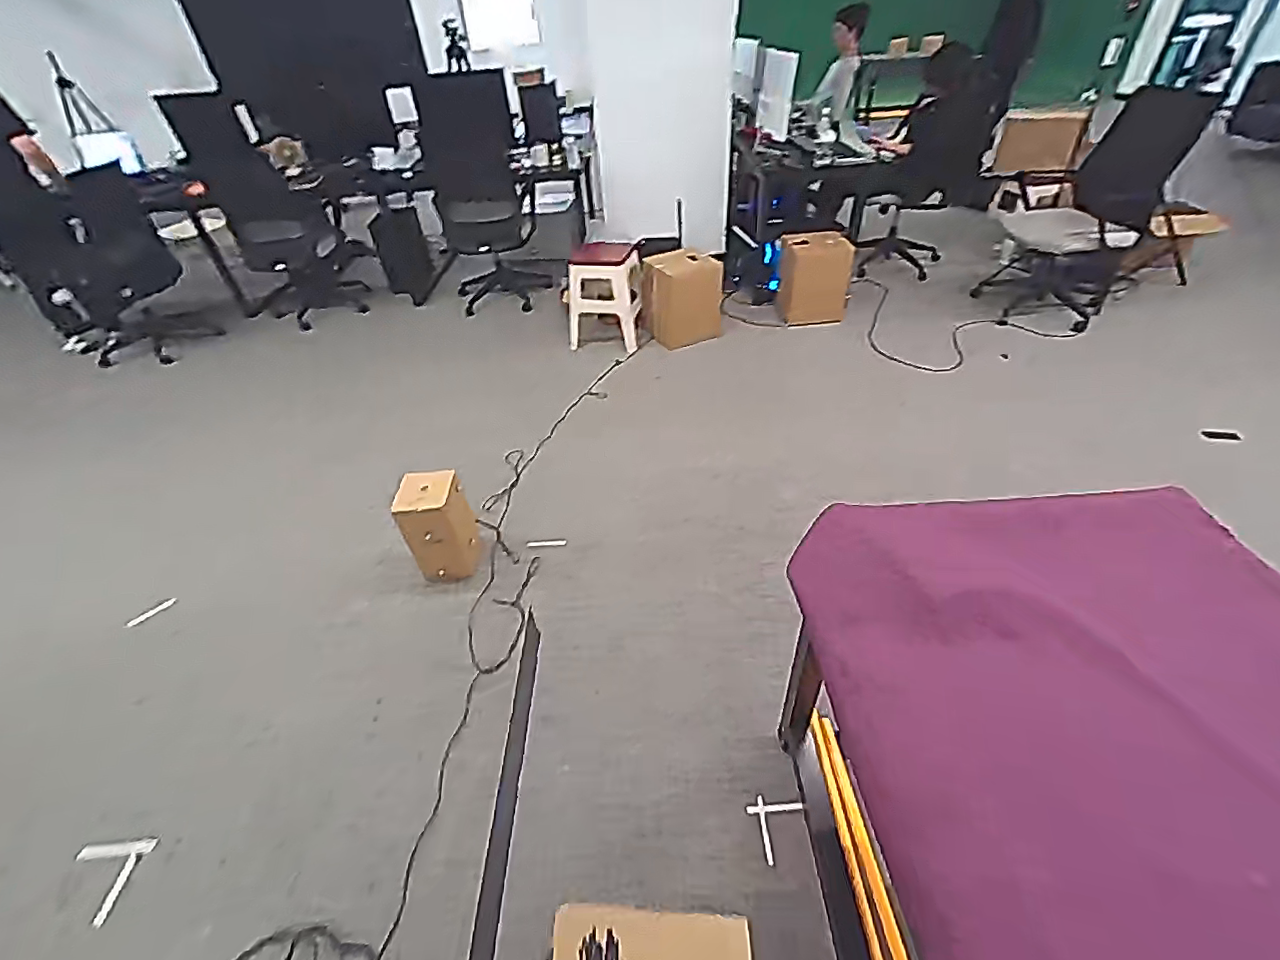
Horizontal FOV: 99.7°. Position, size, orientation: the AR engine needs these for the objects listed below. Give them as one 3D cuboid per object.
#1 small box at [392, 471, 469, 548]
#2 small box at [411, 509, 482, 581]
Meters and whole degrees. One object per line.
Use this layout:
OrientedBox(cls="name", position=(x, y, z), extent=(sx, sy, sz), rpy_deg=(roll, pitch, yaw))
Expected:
OrientedBox(cls="small box", position=(-0.656, 0.094, 1.720), extent=(0.168, 0.176, 0.179), rpy_deg=(-5, 41, 0))
OrientedBox(cls="small box", position=(-0.646, 0.218, 1.828), extent=(0.168, 0.176, 0.179), rpy_deg=(-4, 41, 1))
